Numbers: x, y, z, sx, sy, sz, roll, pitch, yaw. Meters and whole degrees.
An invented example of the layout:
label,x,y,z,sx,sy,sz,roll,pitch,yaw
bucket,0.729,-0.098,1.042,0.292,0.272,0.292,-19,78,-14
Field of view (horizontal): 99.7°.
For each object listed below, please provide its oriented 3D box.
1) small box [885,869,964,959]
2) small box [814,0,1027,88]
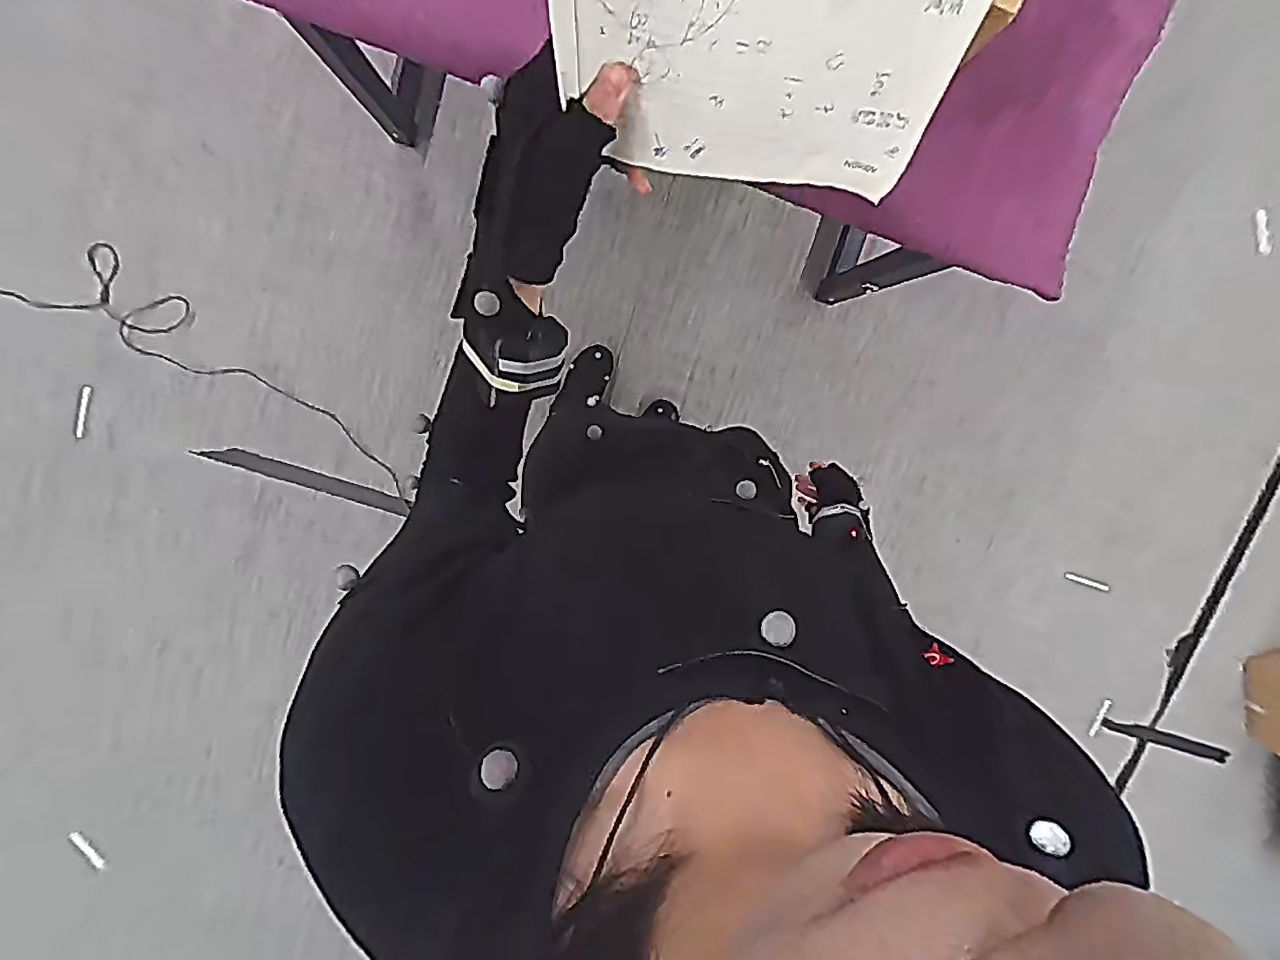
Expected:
label,x,y,z,sx,sy,sz,roll,pitch,yaw
small box,0.918,1.417,1.757,0.168,0.176,0.179,-5,100,-3
small box,0.327,-0.586,0.602,0.179,0.176,0.168,20,96,-6
